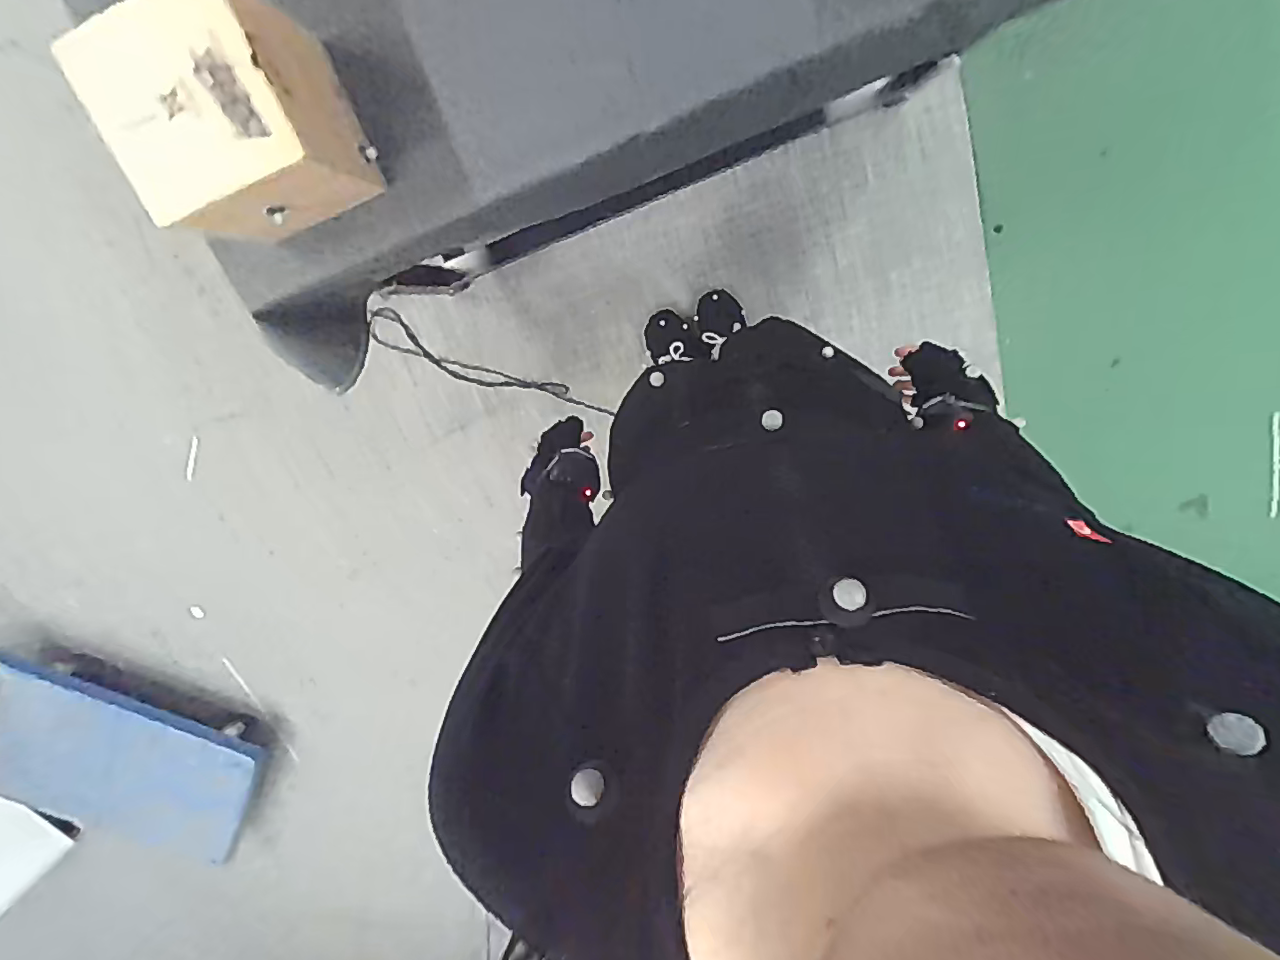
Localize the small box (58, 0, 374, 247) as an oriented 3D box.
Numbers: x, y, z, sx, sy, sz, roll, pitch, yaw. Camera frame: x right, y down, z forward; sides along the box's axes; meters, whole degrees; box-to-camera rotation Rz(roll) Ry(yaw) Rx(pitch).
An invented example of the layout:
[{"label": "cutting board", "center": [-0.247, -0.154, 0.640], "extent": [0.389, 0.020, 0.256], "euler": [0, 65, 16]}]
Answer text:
[{"label": "small box", "center": [-0.418, -0.366, 0.577], "extent": [0.179, 0.176, 0.168], "euler": [-20, 106, 8]}]
